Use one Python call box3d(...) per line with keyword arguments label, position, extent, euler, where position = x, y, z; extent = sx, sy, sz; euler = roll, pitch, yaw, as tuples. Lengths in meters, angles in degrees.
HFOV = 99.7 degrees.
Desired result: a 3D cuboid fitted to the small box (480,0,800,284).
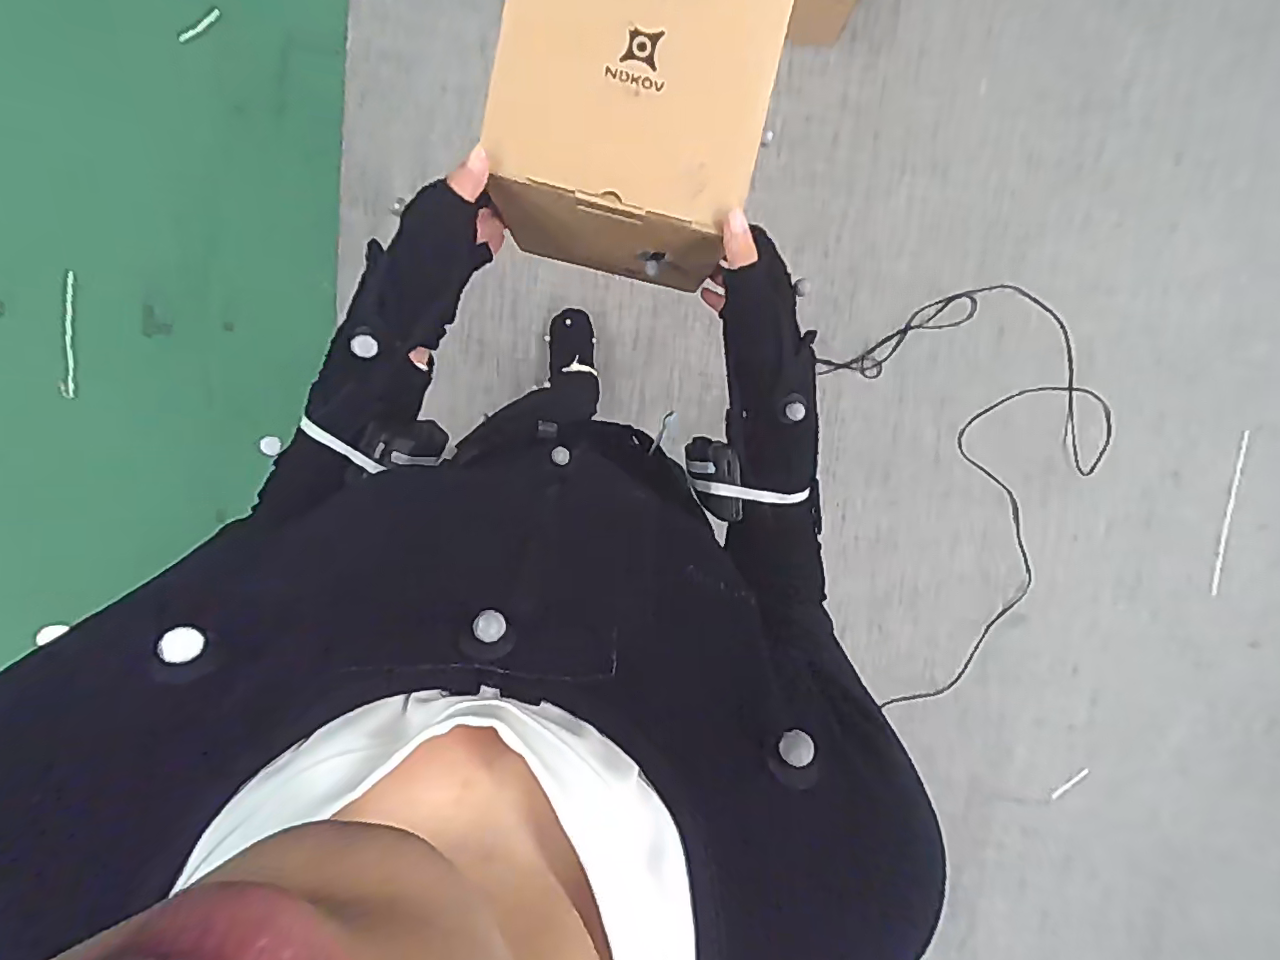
box3d(label="small box", position=(-0.002, -0.261, 0.396), extent=(0.168, 0.176, 0.179), euler=(13, 96, -6))
